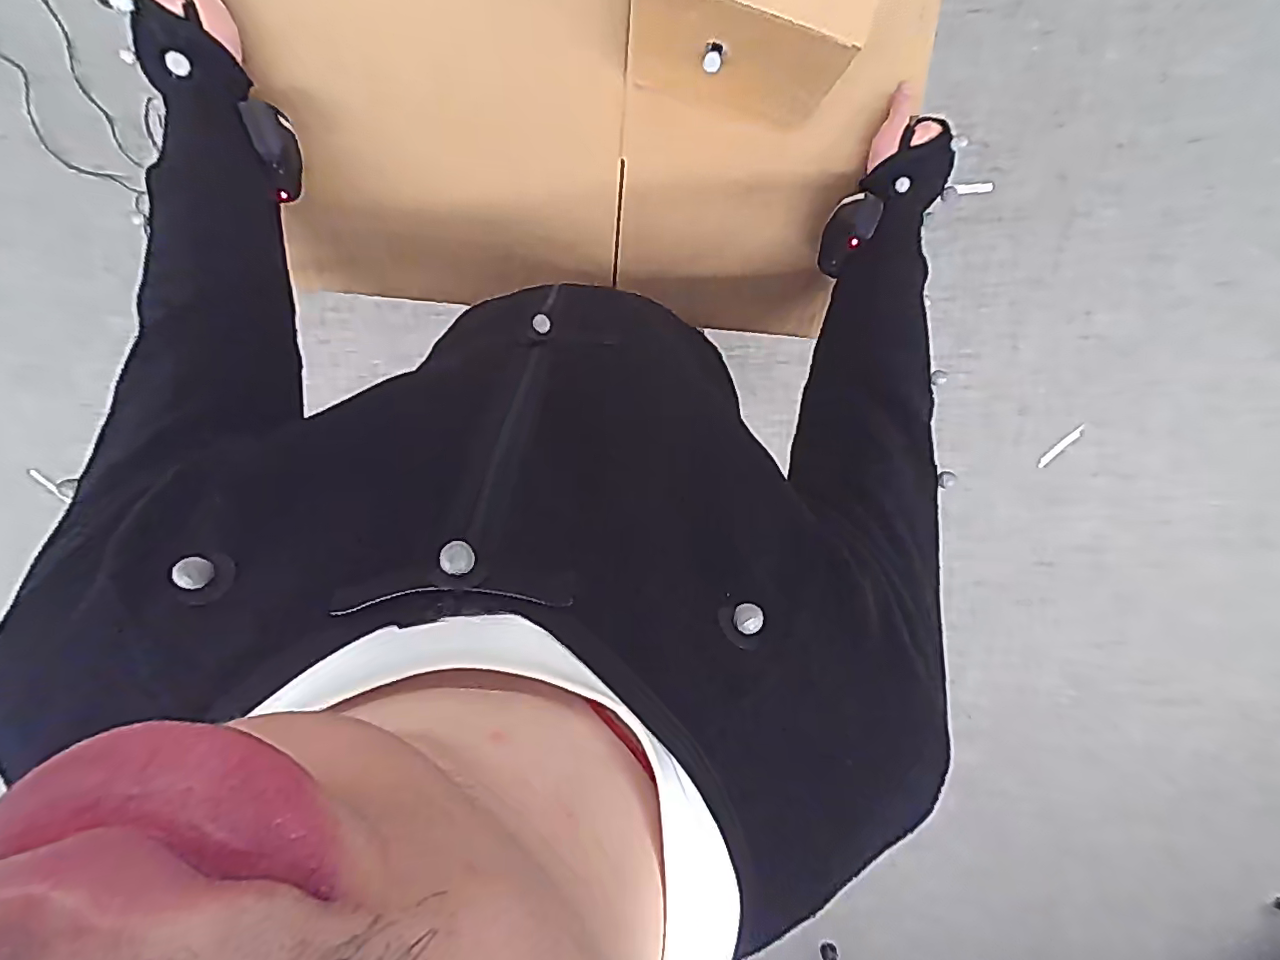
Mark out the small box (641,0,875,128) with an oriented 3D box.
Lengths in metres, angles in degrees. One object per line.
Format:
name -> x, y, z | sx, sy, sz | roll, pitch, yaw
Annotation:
small box -> 0.102, -0.434, 0.455 | 0.179, 0.176, 0.168 | 16, 103, -4
